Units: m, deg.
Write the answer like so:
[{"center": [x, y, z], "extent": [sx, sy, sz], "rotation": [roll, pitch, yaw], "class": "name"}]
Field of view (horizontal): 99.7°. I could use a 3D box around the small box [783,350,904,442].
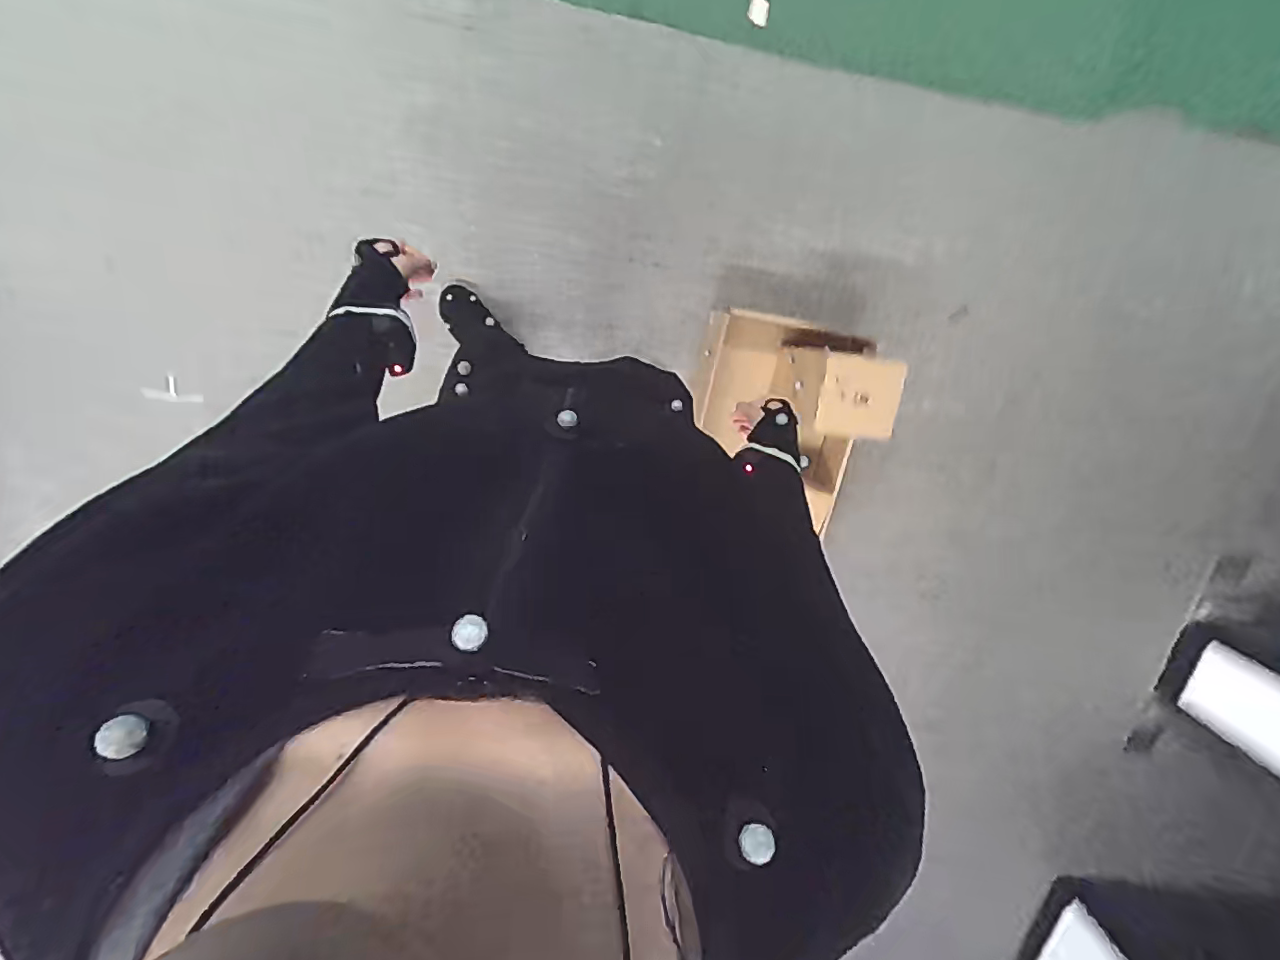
[{"center": [0.441, -0.192, 1.201], "extent": [0.179, 0.176, 0.168], "rotation": [7, 107, -6], "class": "small box"}]
